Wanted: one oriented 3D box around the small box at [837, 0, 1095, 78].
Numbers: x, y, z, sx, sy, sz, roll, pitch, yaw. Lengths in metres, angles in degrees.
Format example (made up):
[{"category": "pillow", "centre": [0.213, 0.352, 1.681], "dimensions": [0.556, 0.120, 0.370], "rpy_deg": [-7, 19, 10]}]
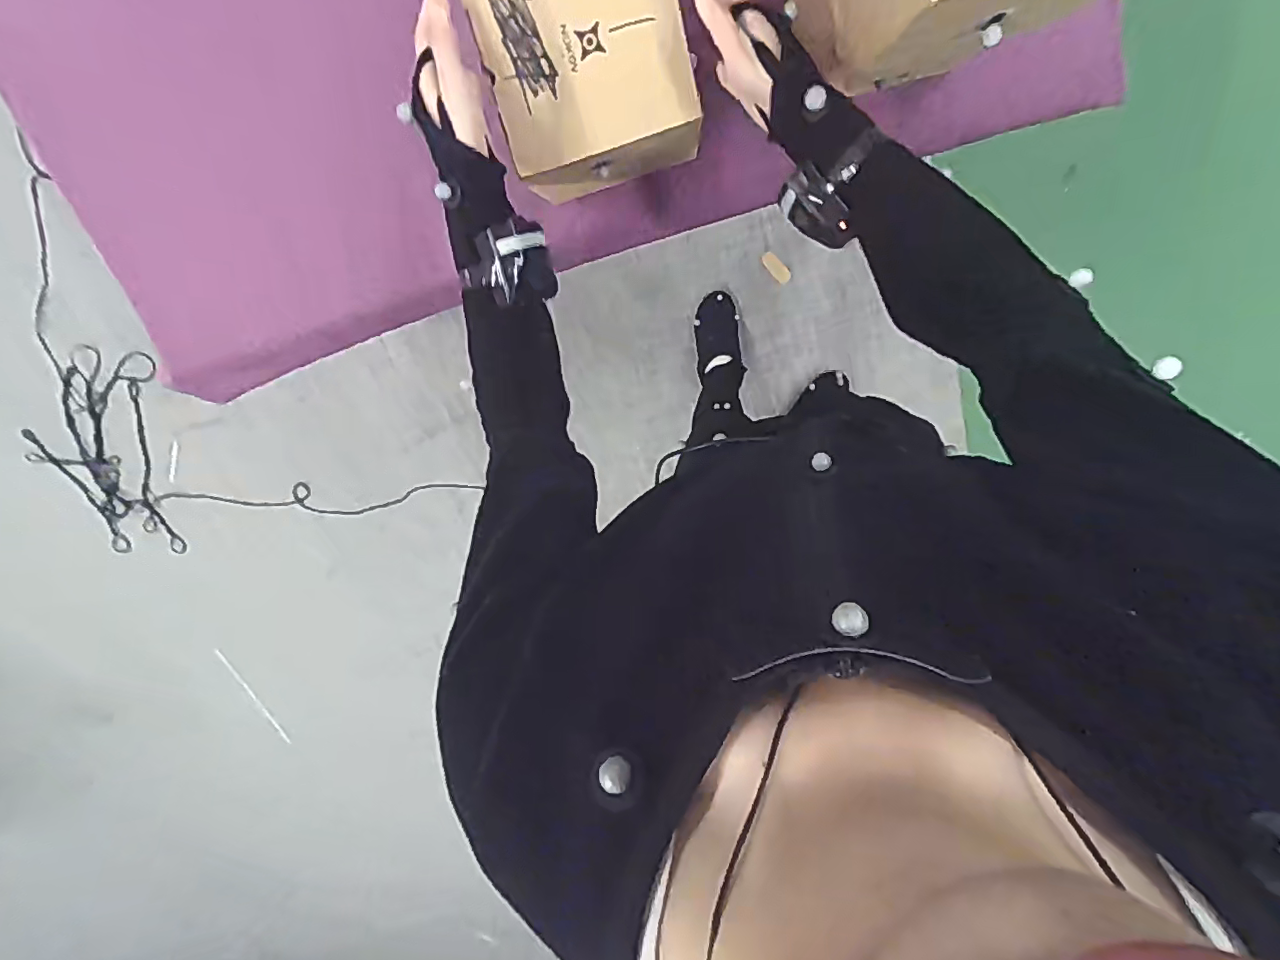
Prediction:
[{"category": "small box", "centre": [0.227, -0.388, 0.339], "dimensions": [0.168, 0.176, 0.179], "rpy_deg": [-13, 110, 8]}]
